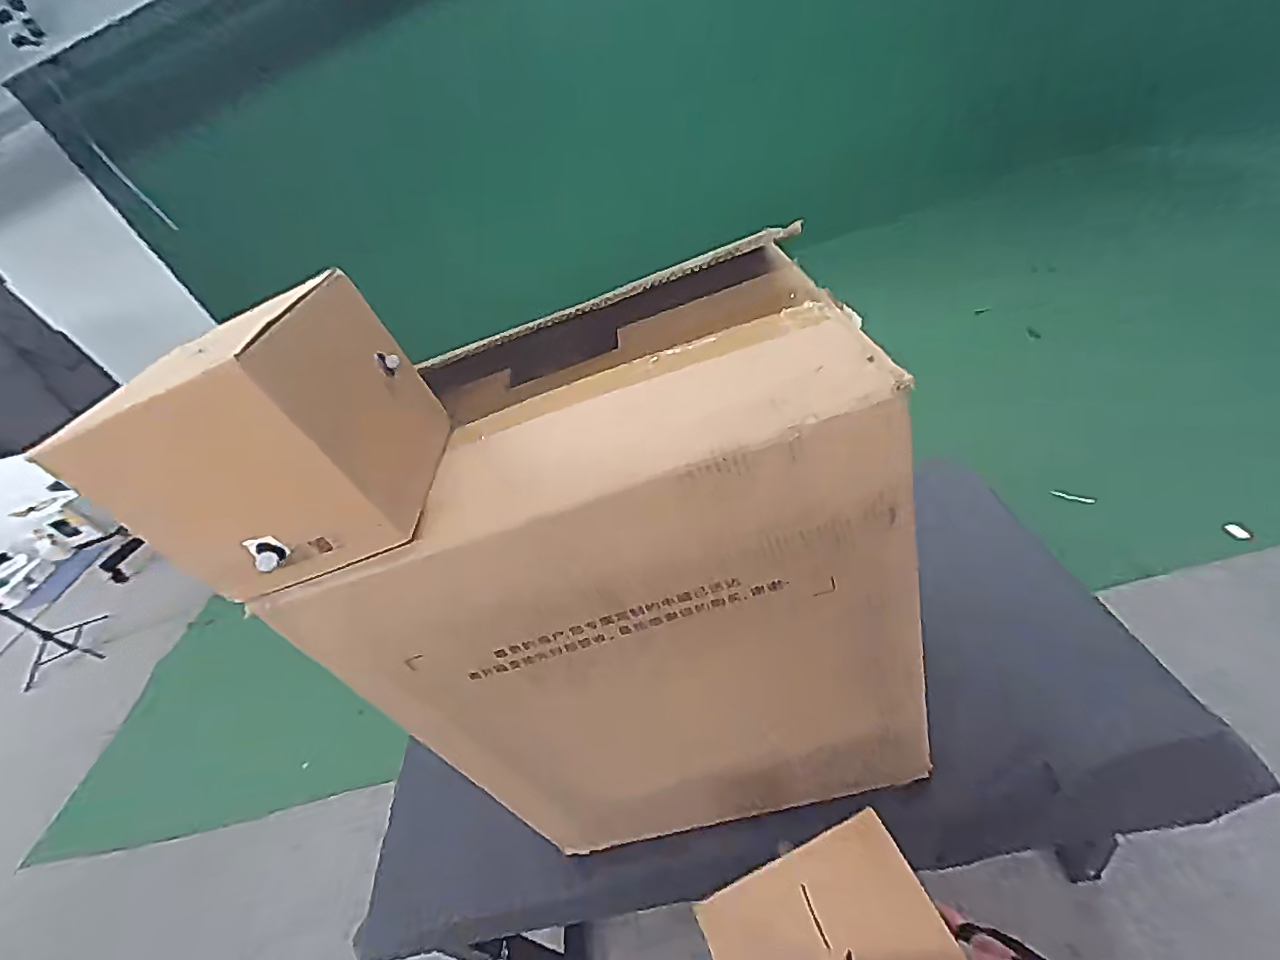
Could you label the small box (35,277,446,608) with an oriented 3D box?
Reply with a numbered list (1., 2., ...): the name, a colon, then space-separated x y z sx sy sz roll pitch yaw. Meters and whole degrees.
1. small box: -0.281 -0.031 0.438 0.168 0.176 0.179 -22 37 8
